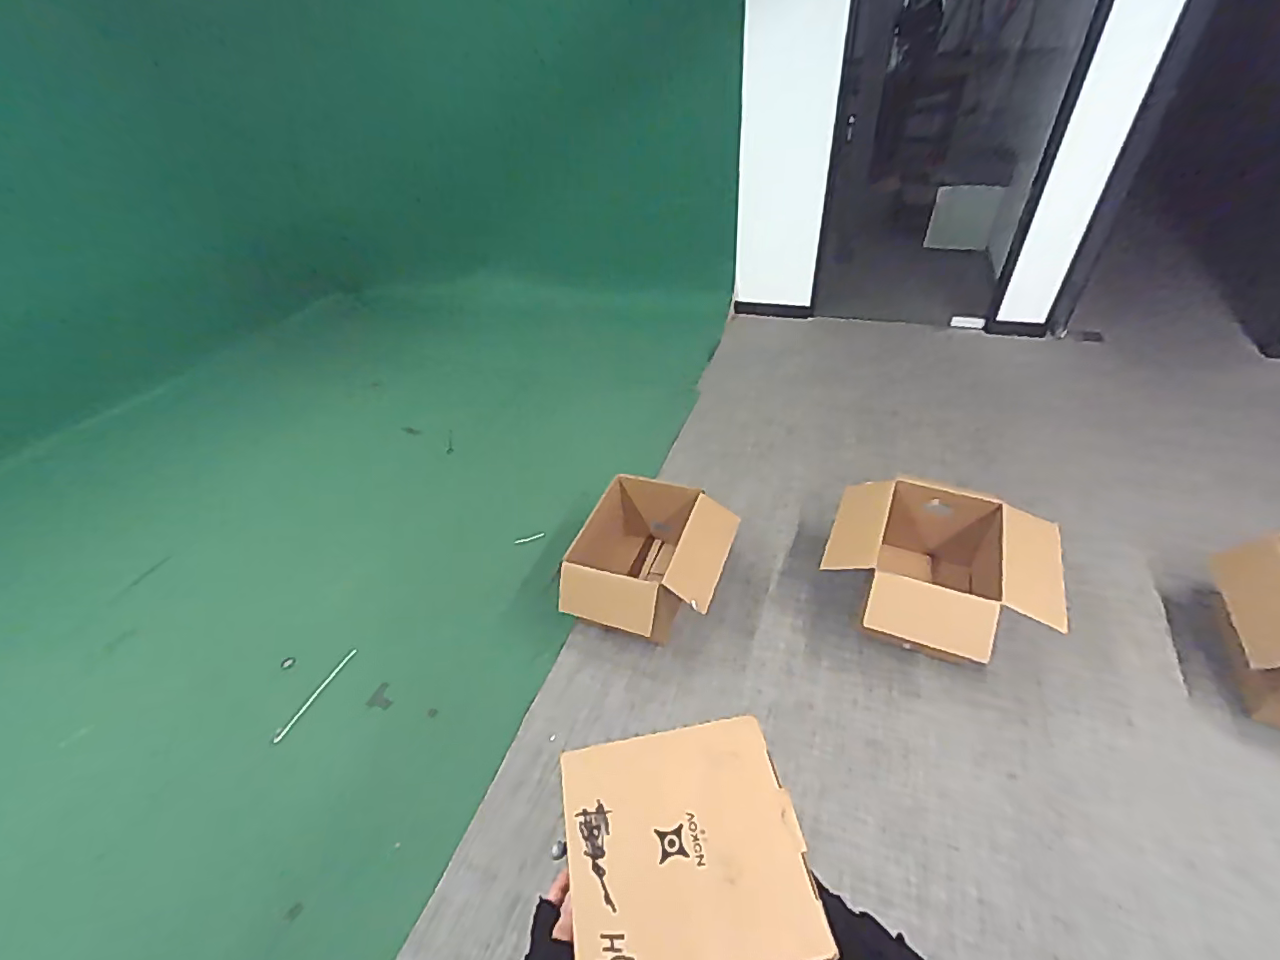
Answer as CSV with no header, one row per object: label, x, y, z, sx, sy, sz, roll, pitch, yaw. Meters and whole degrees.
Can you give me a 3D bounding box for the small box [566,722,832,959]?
small box,0.033,0.336,0.465,0.179,0.176,0.168,-6,42,-7
